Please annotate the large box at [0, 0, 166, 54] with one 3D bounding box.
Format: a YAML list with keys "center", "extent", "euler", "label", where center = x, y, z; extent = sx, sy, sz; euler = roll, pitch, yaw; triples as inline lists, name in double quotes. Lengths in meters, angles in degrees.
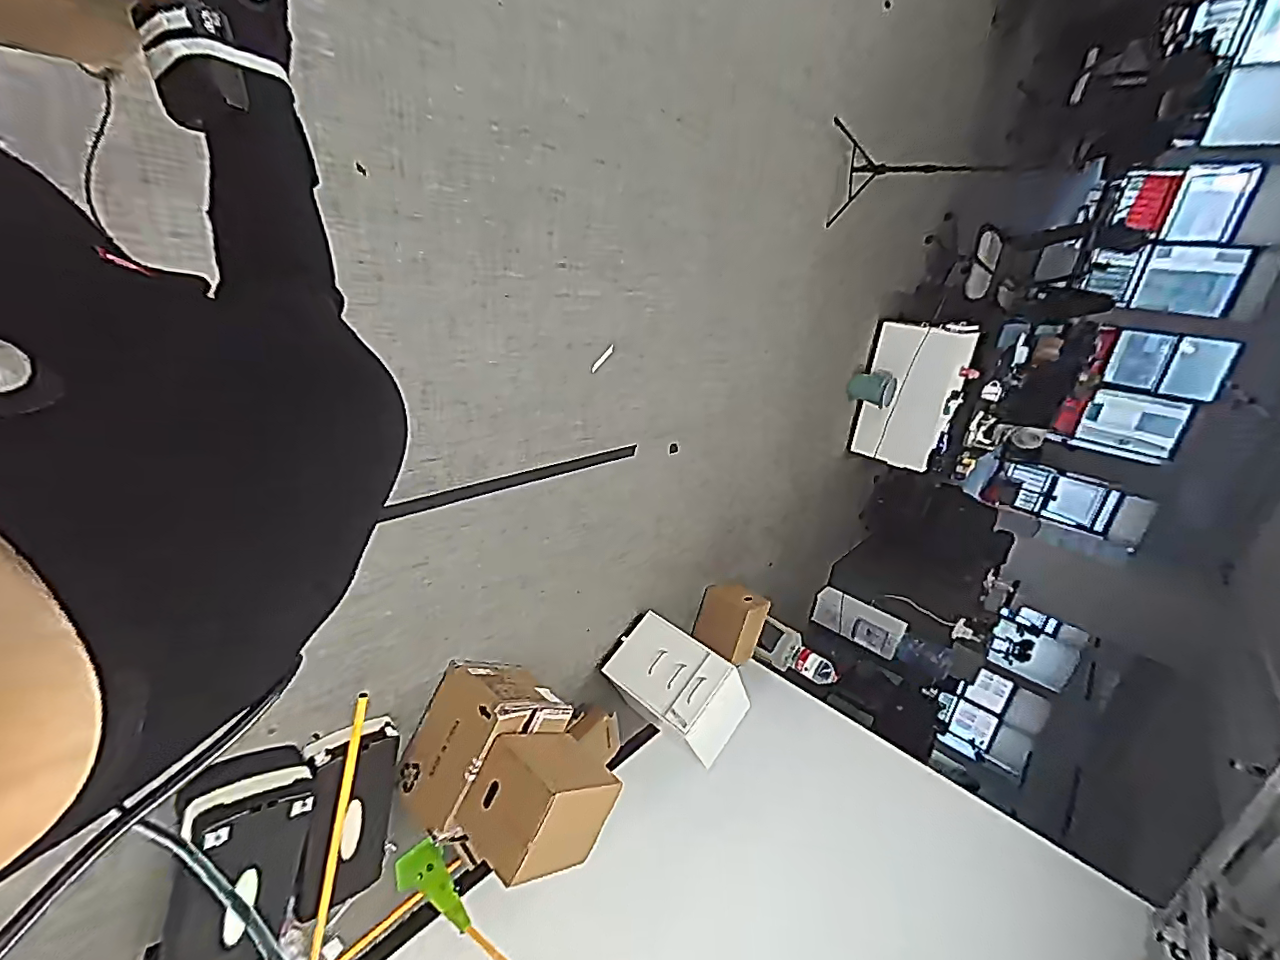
- center: [-0.555, -0.472, 0.267]
  extent: [0.408, 0.320, 0.320]
  euler: [-23, 126, -46]
  label: "large box"
